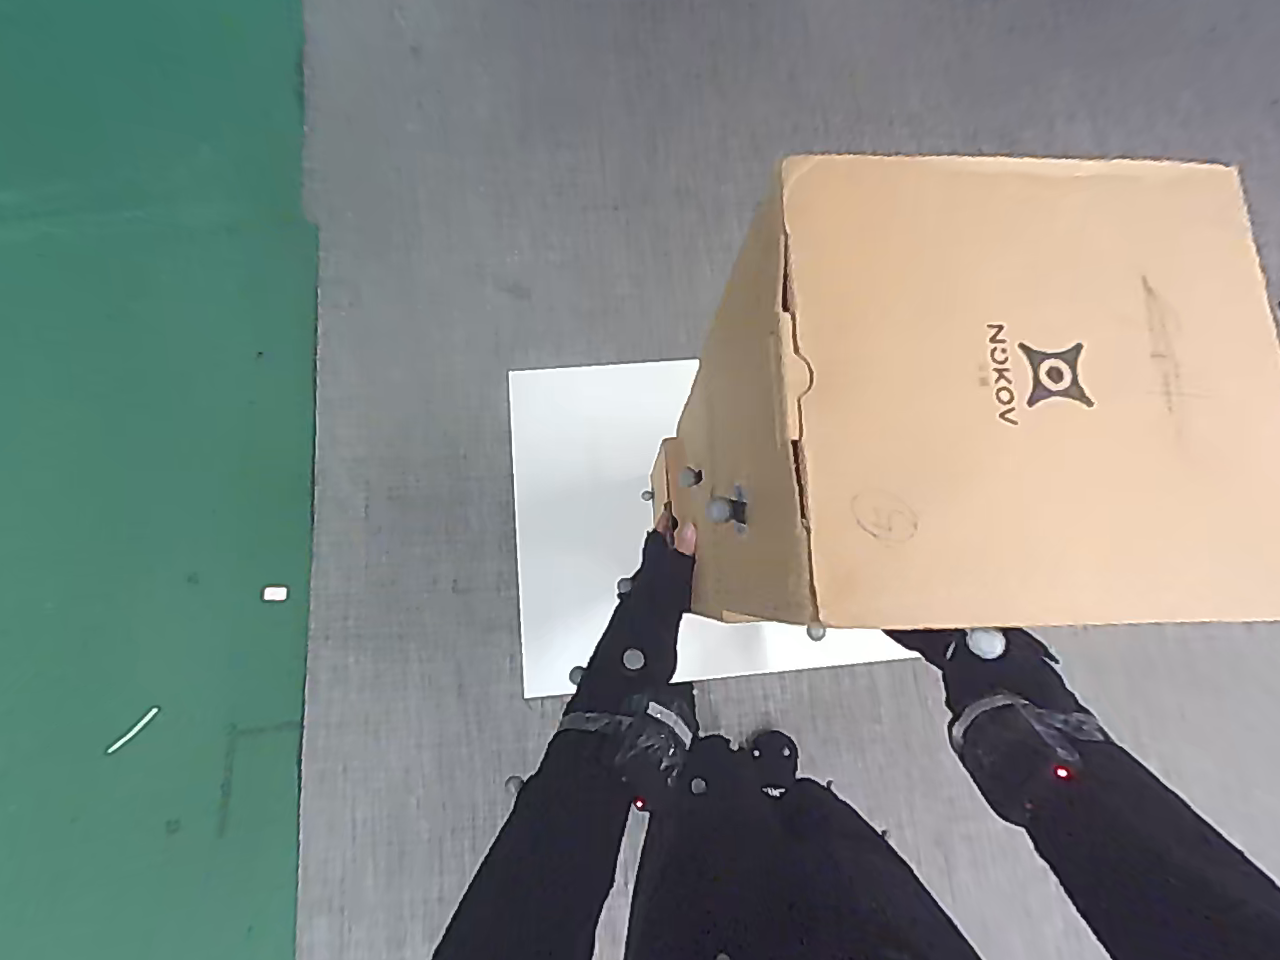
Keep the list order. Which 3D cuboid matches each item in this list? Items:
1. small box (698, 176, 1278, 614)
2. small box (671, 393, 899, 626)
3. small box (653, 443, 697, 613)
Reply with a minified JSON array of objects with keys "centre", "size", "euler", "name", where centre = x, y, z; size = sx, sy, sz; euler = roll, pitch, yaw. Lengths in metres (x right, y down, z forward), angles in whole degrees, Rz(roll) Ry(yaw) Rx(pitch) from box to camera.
[{"centre":[0.127,-0.021,0.274],"size":[0.179,0.176,0.168],"euler":[-1,80,-4],"name":"small box"},{"centre":[0.121,0.019,0.434],"size":[0.168,0.176,0.179],"euler":[-5,78,-5],"name":"small box"},{"centre":[0.106,0.057,0.590],"size":[0.179,0.176,0.168],"euler":[-3,78,-4],"name":"small box"}]
